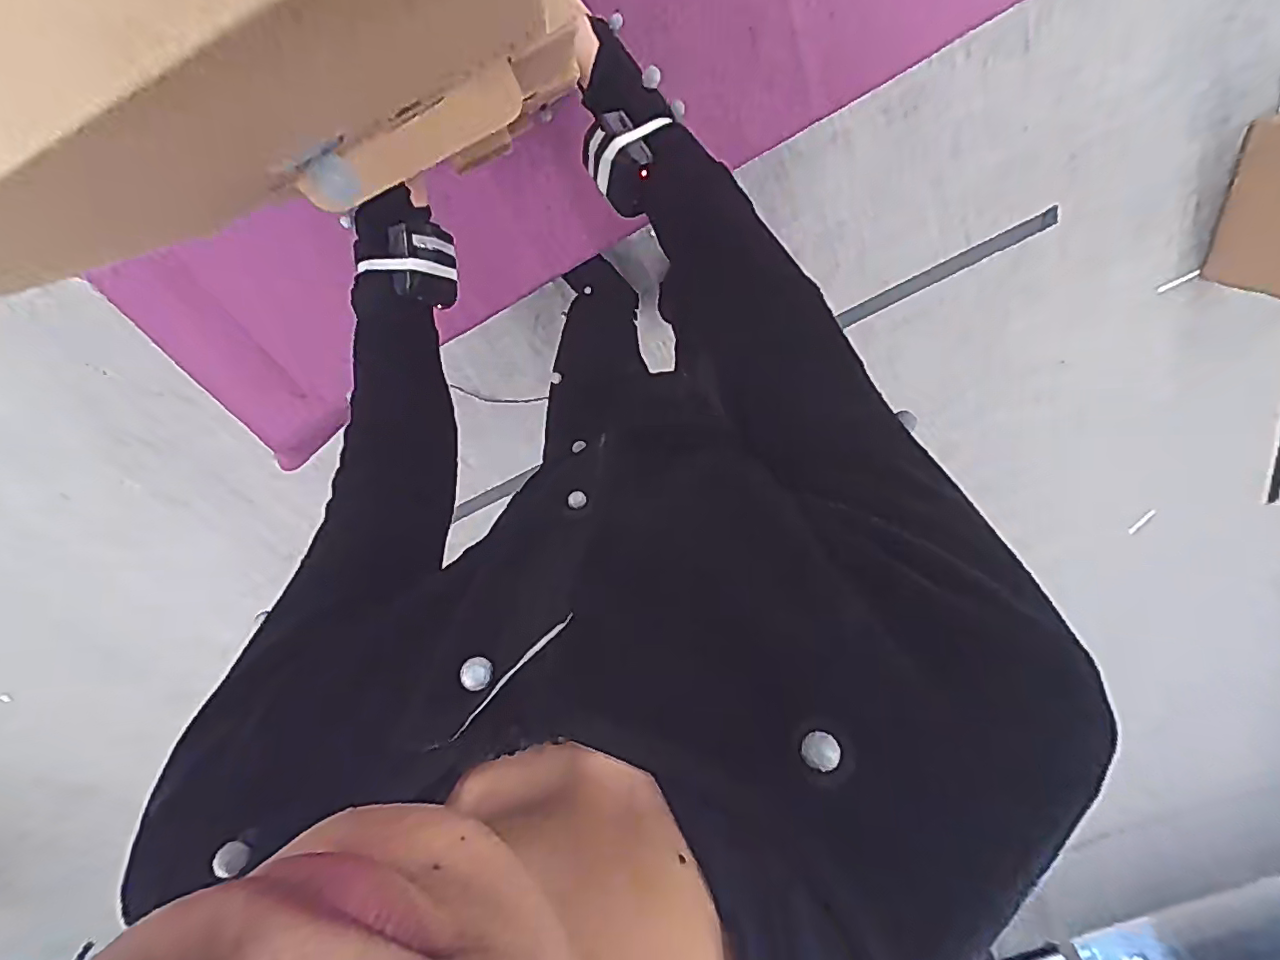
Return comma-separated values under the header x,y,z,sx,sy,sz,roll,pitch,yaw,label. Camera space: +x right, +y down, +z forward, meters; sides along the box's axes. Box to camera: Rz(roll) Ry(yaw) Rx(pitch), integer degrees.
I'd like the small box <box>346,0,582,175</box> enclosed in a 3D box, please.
x,y,z,sx,sy,sz,roll,pitch,yaw,label
-0.151,-0.335,0.369,0.168,0.176,0.179,-21,124,6,small box

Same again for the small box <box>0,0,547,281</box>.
x,y,z,sx,sy,sz,roll,pitch,yaw,label
-0.129,-0.151,0.096,0.168,0.176,0.179,-25,123,8,small box
